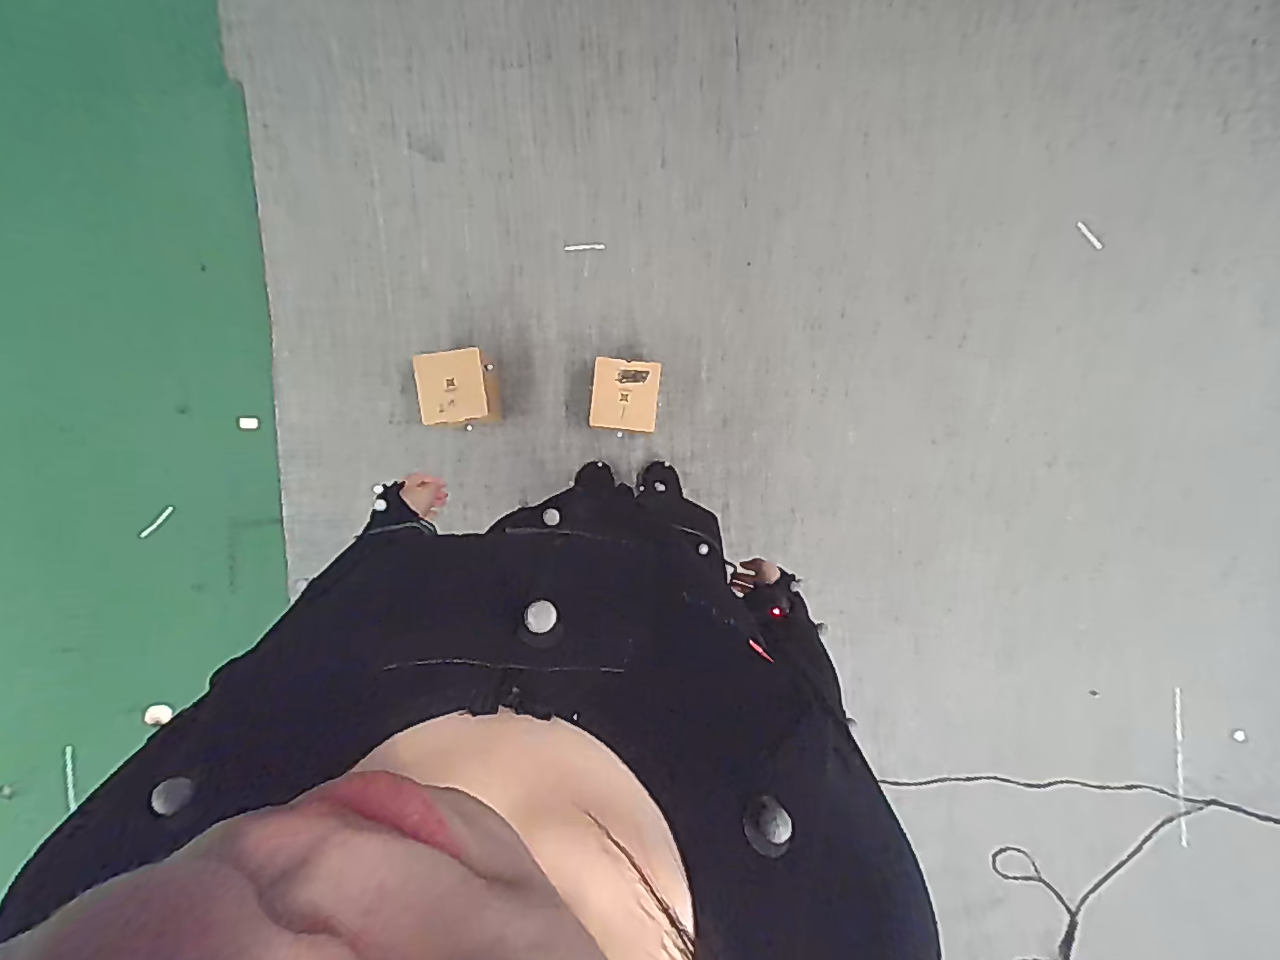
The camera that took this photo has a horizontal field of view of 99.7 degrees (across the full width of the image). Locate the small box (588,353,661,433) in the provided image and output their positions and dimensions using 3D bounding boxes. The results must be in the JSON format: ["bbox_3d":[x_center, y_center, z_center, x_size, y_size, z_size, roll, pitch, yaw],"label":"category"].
[{"bbox_3d":[-0.041,-0.220,1.409,0.168,0.176,0.179,6,93,-2],"label":"small box"}]

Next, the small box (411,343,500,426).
[{"bbox_3d":[-0.469,-0.241,1.396,0.168,0.176,0.179,-8,92,-1],"label":"small box"}]
